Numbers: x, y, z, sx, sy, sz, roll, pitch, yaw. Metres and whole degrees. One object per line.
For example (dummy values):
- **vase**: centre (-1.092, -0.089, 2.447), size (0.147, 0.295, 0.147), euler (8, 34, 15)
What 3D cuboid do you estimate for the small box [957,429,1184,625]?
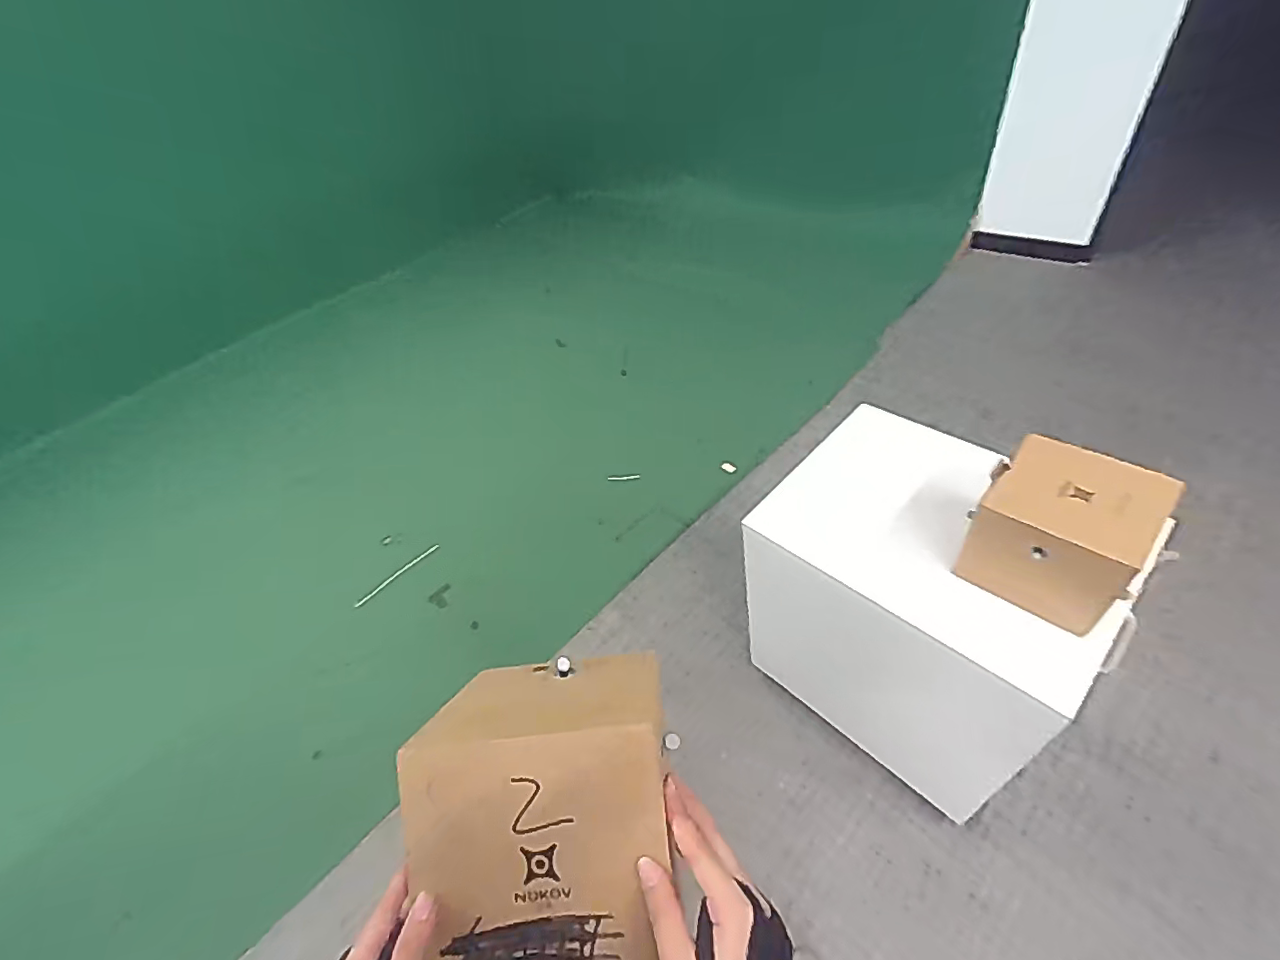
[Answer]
- **small box**: centre (0.569, 0.065, 0.740), size (0.179, 0.176, 0.168), euler (31, 62, 35)
